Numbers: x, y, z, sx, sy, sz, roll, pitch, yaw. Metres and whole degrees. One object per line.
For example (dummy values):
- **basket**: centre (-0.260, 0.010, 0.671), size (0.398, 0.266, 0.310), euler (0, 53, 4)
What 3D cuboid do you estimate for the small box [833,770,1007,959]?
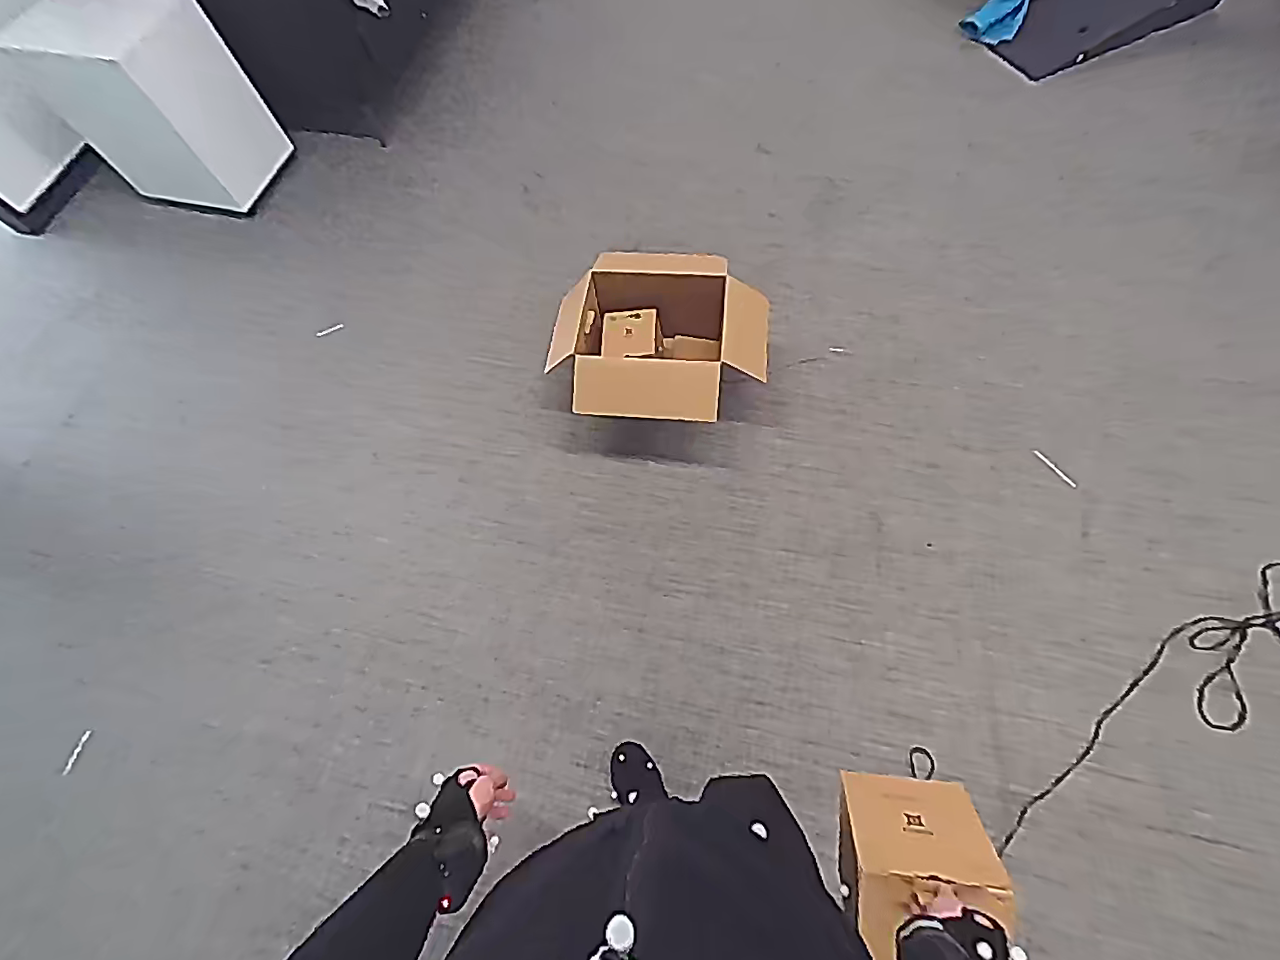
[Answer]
- **small box**: centre (0.348, 0.518, 0.702), size (0.168, 0.179, 0.176), euler (1, 98, 13)
